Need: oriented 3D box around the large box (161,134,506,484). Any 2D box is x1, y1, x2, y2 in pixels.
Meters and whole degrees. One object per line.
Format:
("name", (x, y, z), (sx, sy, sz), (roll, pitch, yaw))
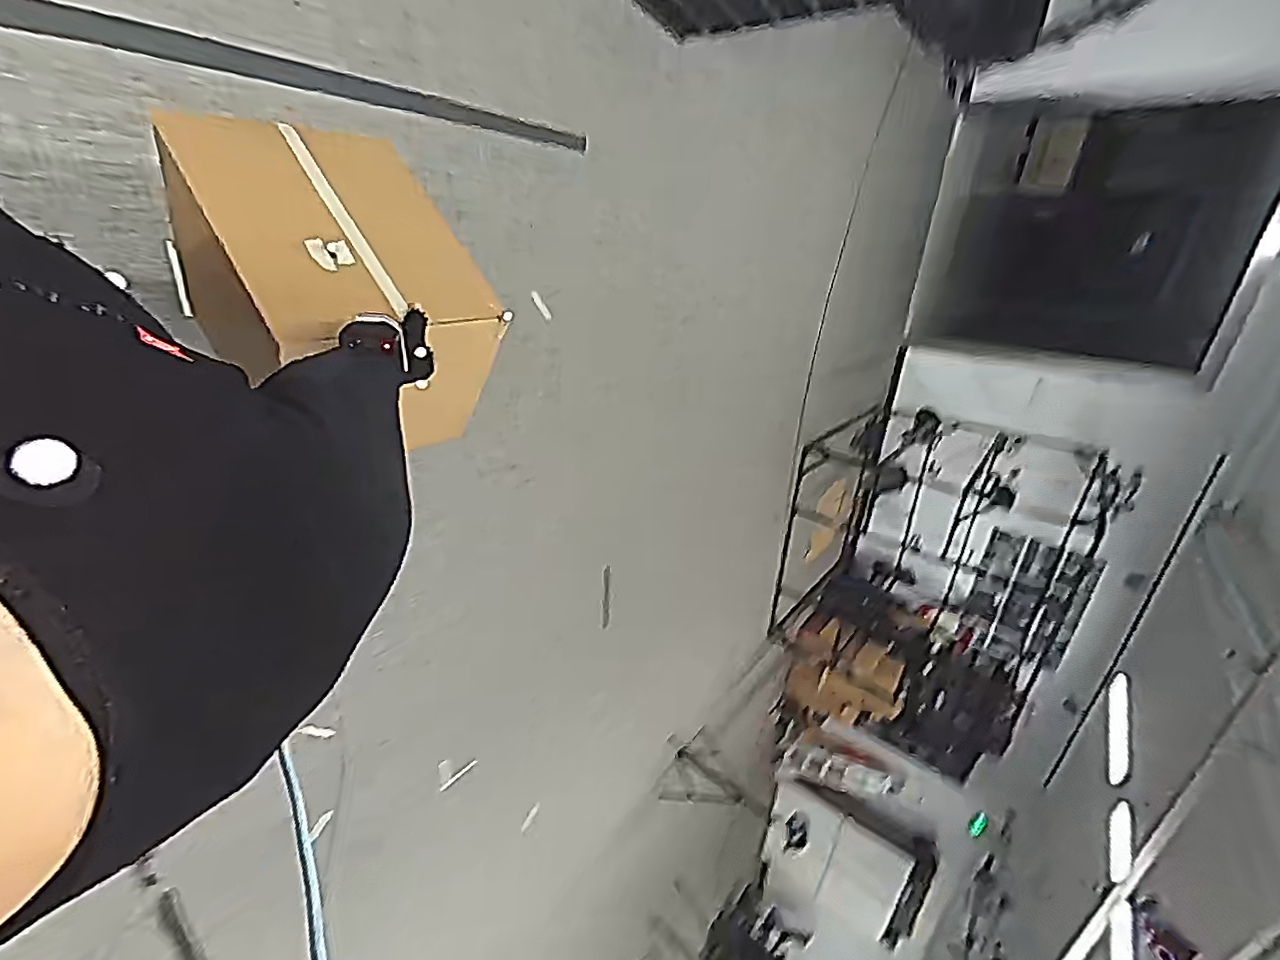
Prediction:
("large box", (-0.495, -0.268, 0.883), (0.320, 0.408, 0.320), (-25, 165, -42))
